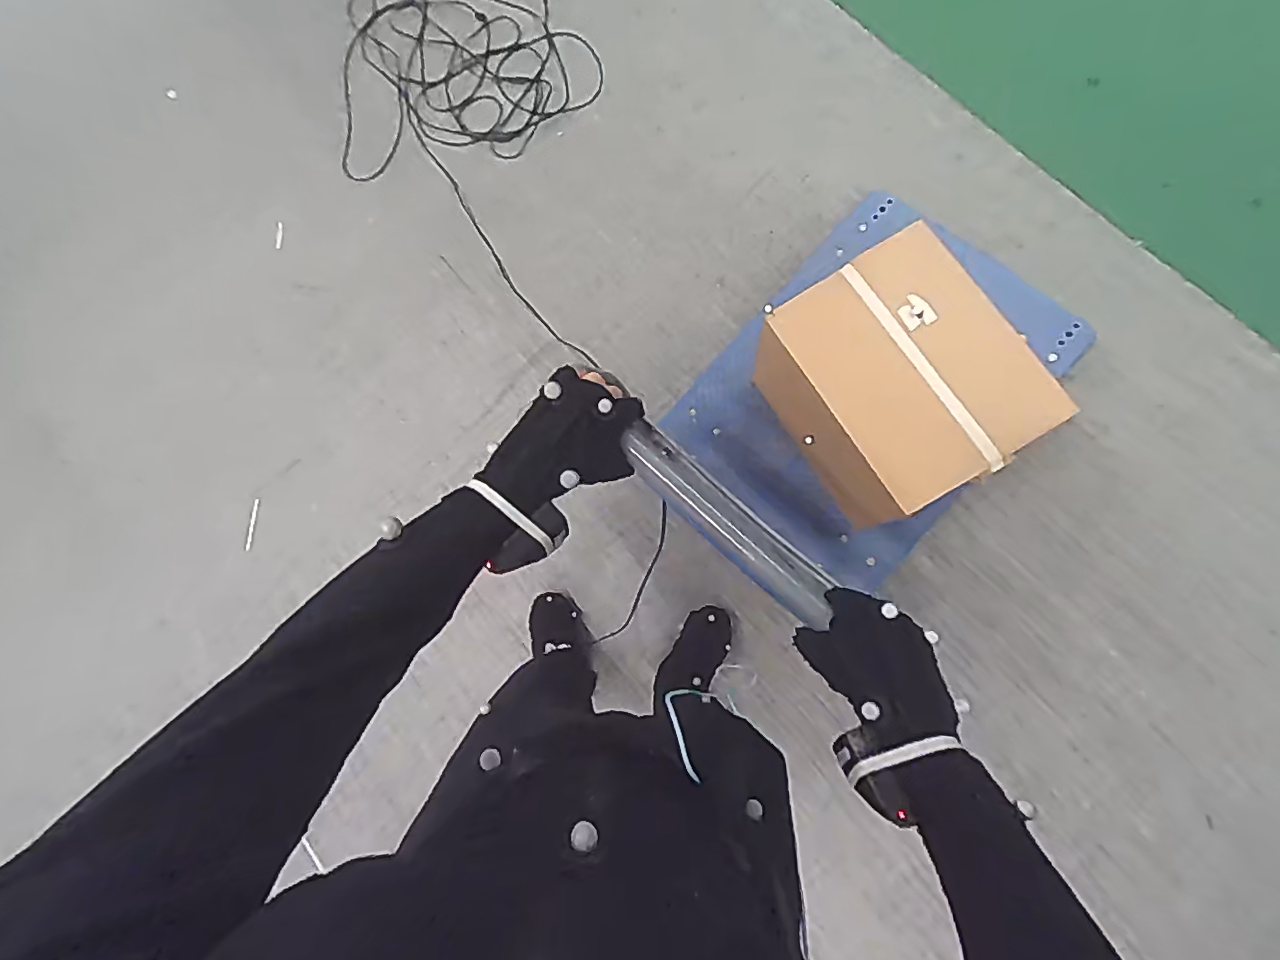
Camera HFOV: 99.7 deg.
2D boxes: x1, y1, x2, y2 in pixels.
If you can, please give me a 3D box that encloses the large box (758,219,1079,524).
[{"bbox_3d":[0.463,-0.171,1.012,0.320,0.320,0.408,-32,77,2],"label":"large box"}]
